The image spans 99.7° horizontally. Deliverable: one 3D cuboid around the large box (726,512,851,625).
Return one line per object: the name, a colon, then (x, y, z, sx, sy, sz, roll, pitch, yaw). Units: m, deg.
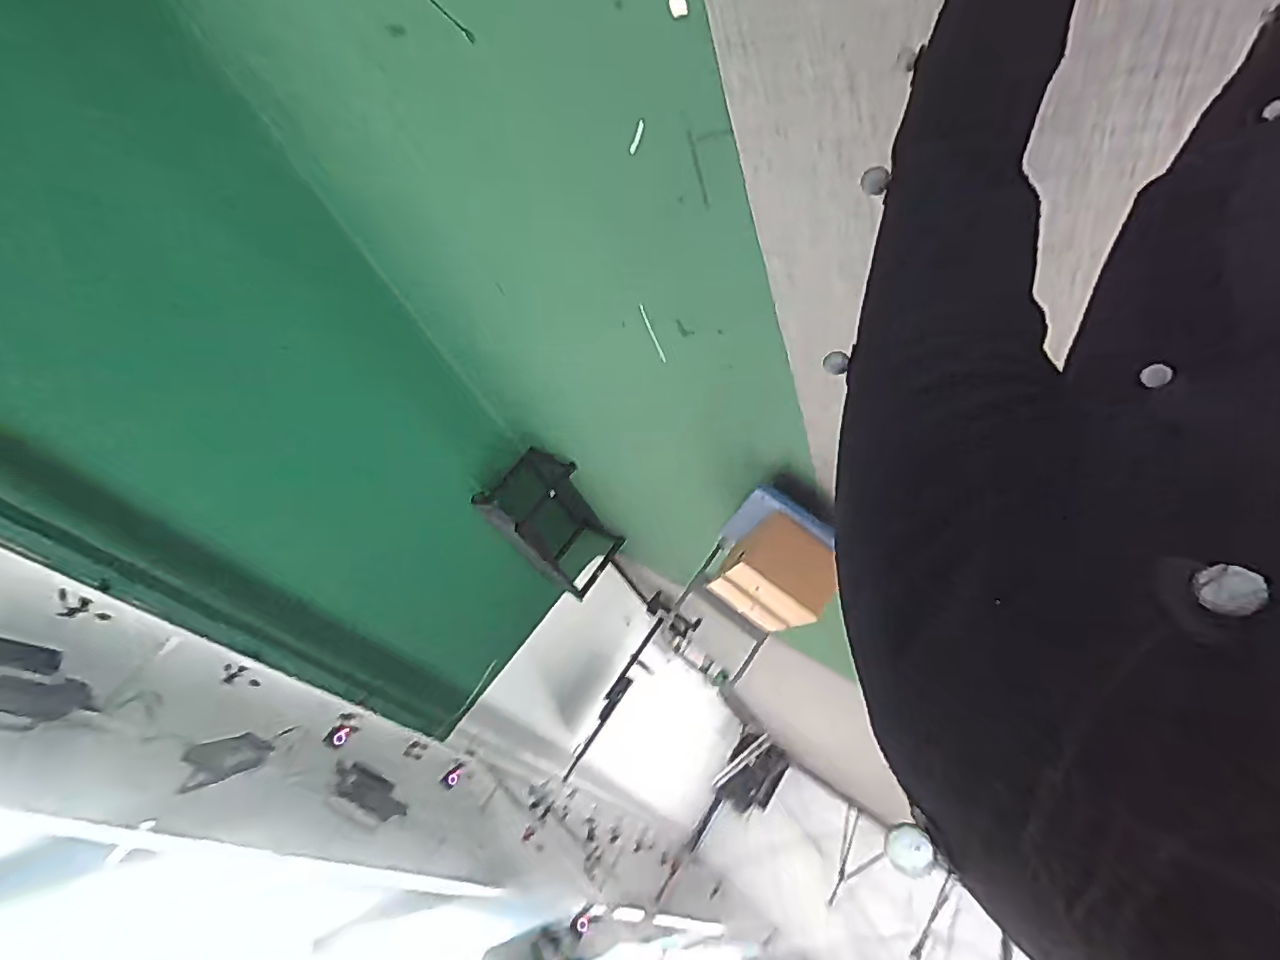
large box: (0.674, 0.415, 2.491, 0.408, 0.320, 0.320, 38, 162, 7)
